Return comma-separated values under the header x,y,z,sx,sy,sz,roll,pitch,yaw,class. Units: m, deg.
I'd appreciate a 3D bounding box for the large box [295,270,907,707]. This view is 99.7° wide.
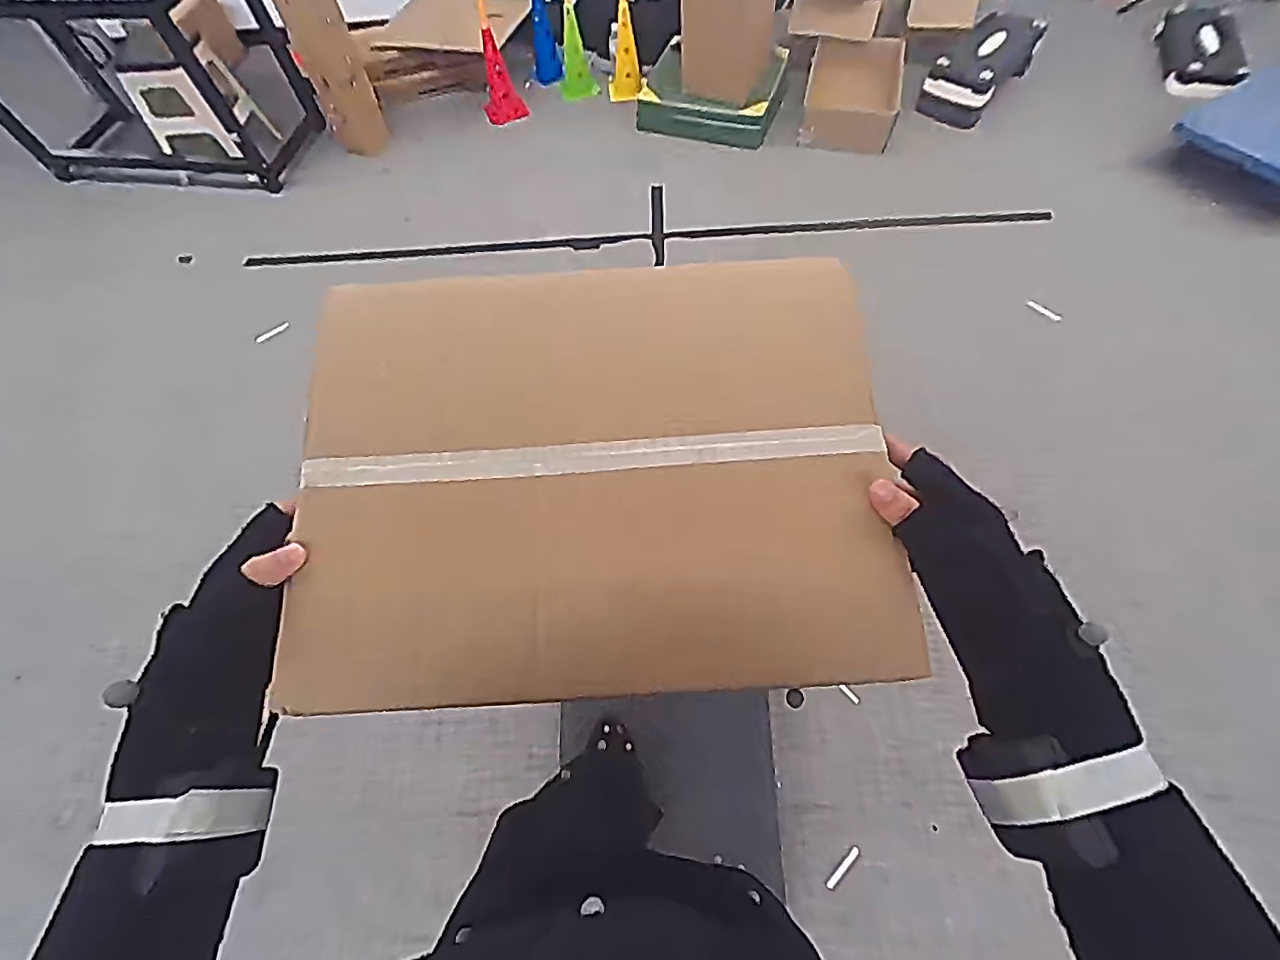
x,y,z,sx,sy,sz,roll,pitch,yaw,class
-0.030,0.031,0.532,0.408,0.320,0.320,-3,72,0,large box
